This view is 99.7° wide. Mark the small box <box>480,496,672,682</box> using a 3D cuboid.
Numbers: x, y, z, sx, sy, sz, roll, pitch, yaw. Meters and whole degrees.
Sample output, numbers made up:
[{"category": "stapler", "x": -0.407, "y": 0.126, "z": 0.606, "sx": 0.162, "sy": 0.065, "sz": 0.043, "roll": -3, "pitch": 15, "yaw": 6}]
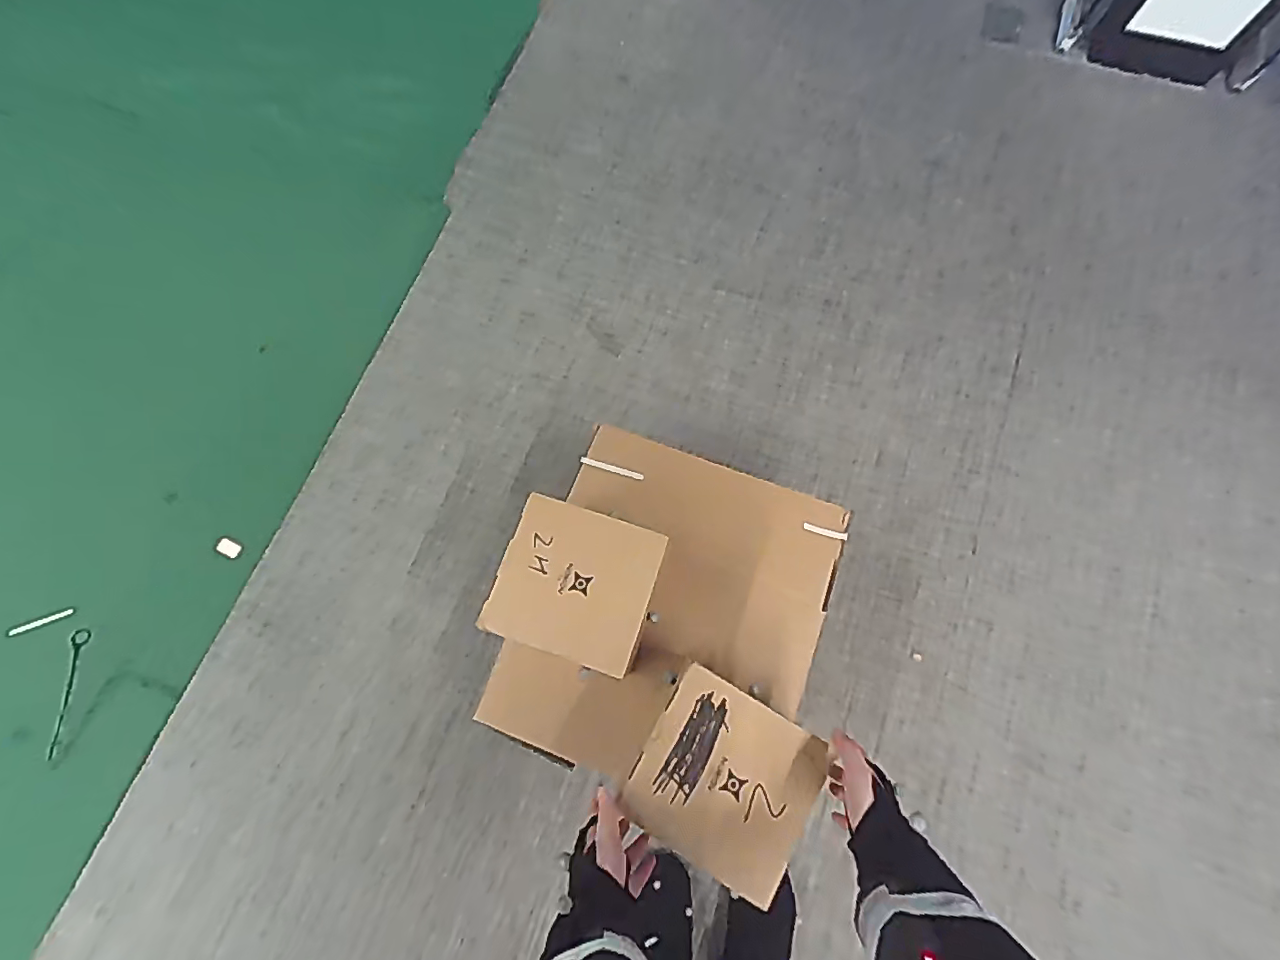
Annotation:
[{"category": "small box", "x": -0.068, "y": 0.140, "z": 0.684, "sx": 0.179, "sy": 0.176, "sz": 0.168, "roll": 18, "pitch": 74, "yaw": 7}]
